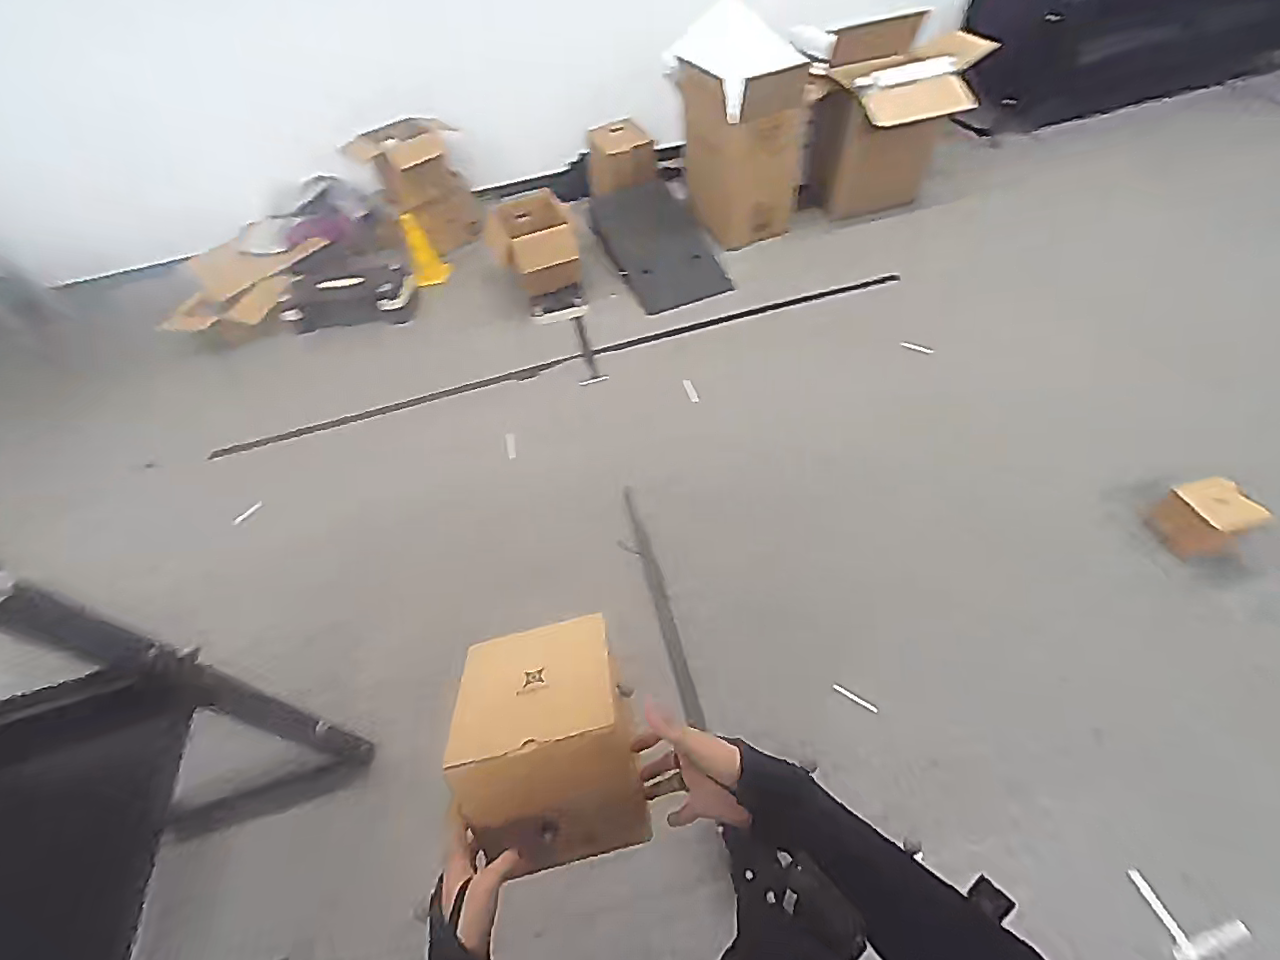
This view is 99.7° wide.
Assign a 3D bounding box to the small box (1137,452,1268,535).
[{"bbox_3d":[1.685,0.043,1.634,0.179,0.176,0.168,-13,51,-4],"label":"small box"}]
